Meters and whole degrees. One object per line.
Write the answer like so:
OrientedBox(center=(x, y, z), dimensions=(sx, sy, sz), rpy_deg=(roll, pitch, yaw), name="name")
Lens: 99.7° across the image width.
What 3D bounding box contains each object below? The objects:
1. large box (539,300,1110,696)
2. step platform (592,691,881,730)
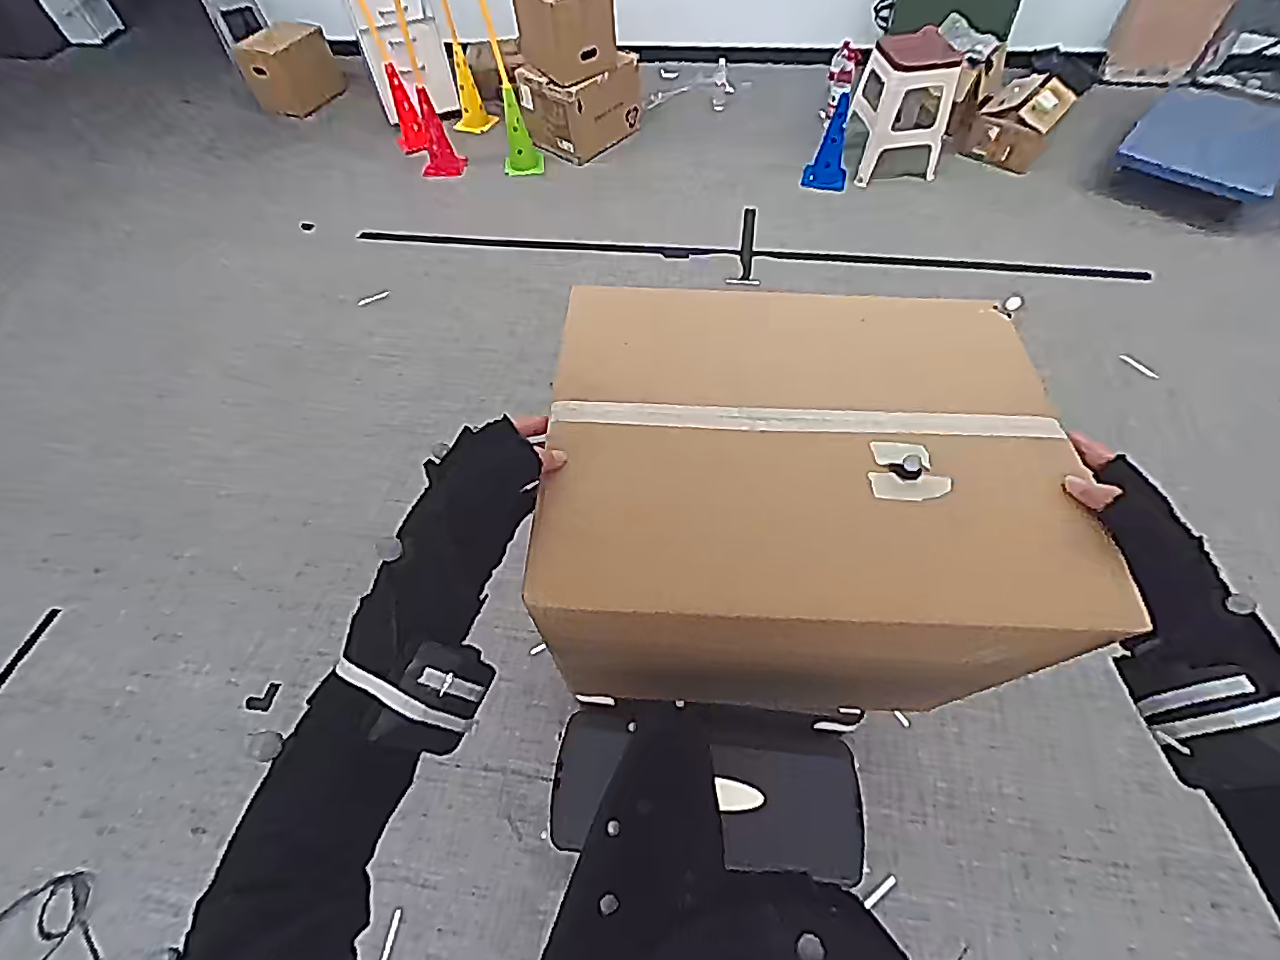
OrientedBox(center=(0.125, 0.037, 0.573), dimensions=(0.408, 0.320, 0.320), rpy_deg=(2, 59, 0), name="large box")
OrientedBox(center=(0.220, 0.422, 1.328), dimensions=(0.684, 0.204, 0.286), rpy_deg=(4, 58, 4), name="step platform")
